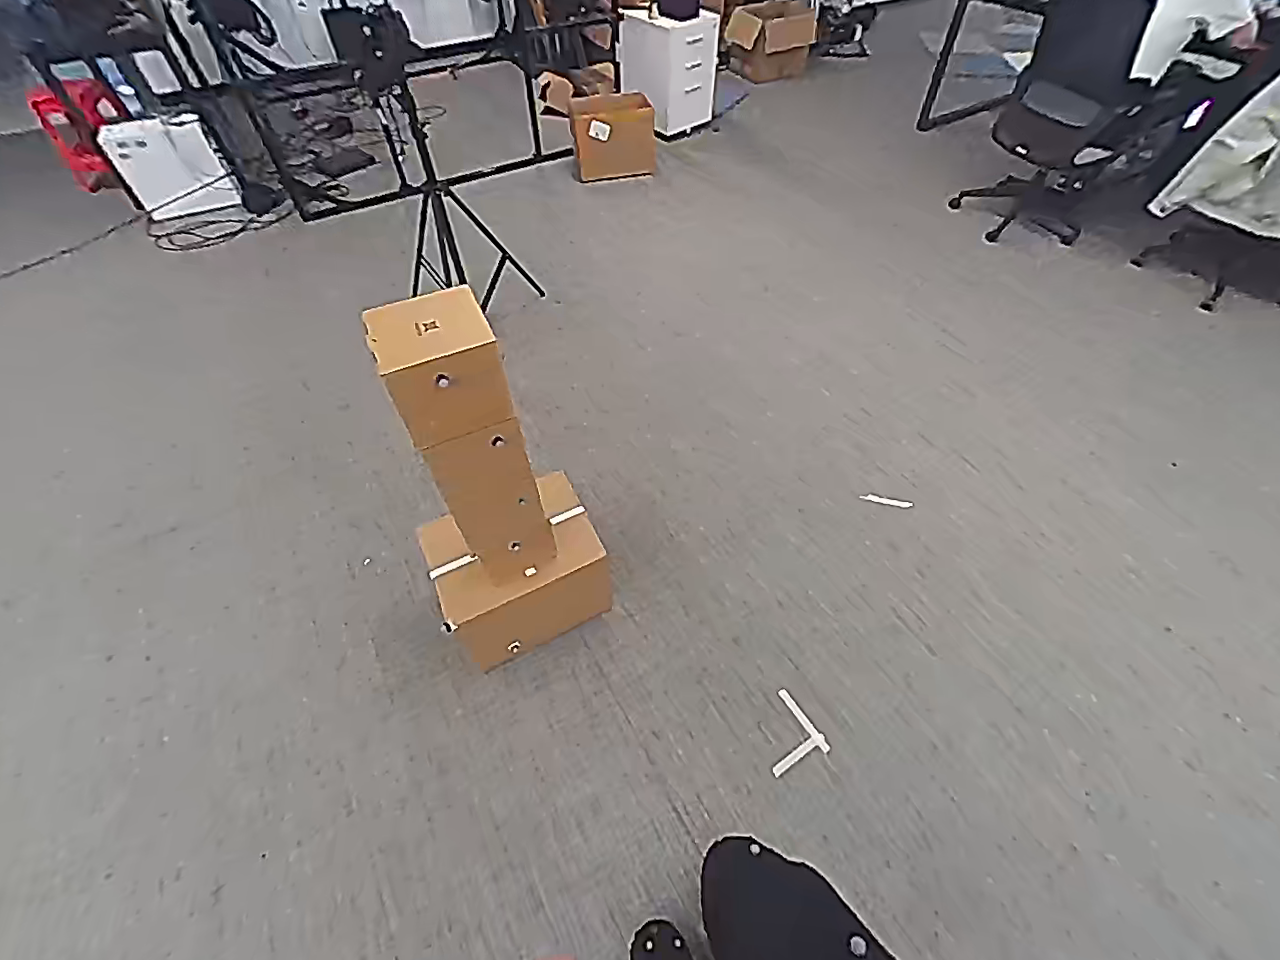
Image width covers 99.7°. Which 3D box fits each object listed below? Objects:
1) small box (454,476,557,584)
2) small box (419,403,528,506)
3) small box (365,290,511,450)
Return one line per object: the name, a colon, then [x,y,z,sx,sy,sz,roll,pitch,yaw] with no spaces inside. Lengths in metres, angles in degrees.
small box: [-0.316,0.119,1.291,0.179,0.176,0.168,-25,57,-18]
small box: [-0.323,-0.081,1.030,0.179,0.176,0.168,-22,55,-15]
small box: [-0.326,-0.180,0.902,0.179,0.176,0.168,-22,56,-15]
